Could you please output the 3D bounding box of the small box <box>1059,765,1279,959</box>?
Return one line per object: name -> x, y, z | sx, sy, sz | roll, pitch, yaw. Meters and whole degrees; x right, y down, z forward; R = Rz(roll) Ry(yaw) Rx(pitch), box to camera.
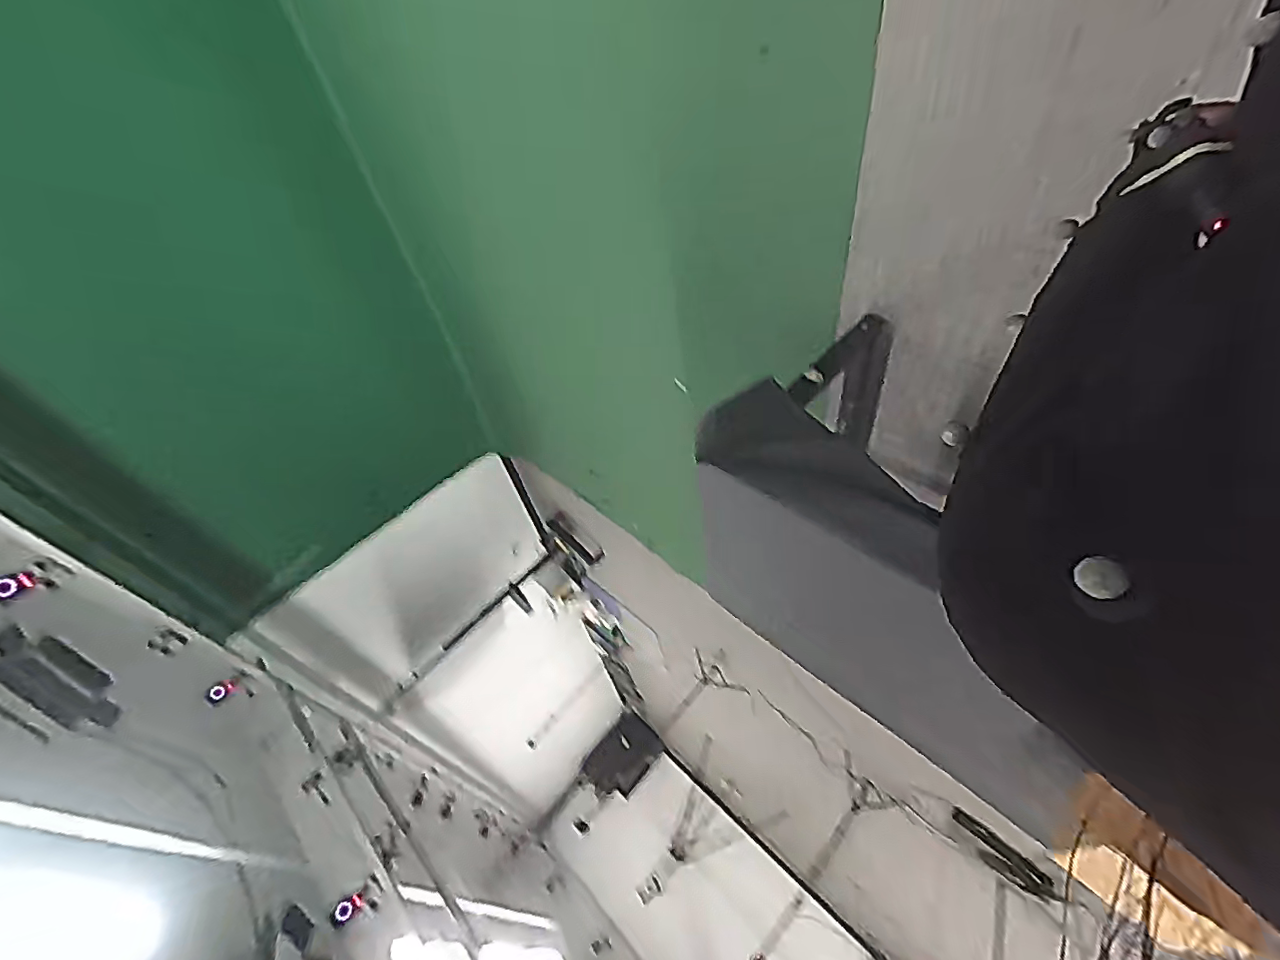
small box -> 0.772, 0.552, 0.790 | 0.168, 0.176, 0.179 | 35, 155, 31
